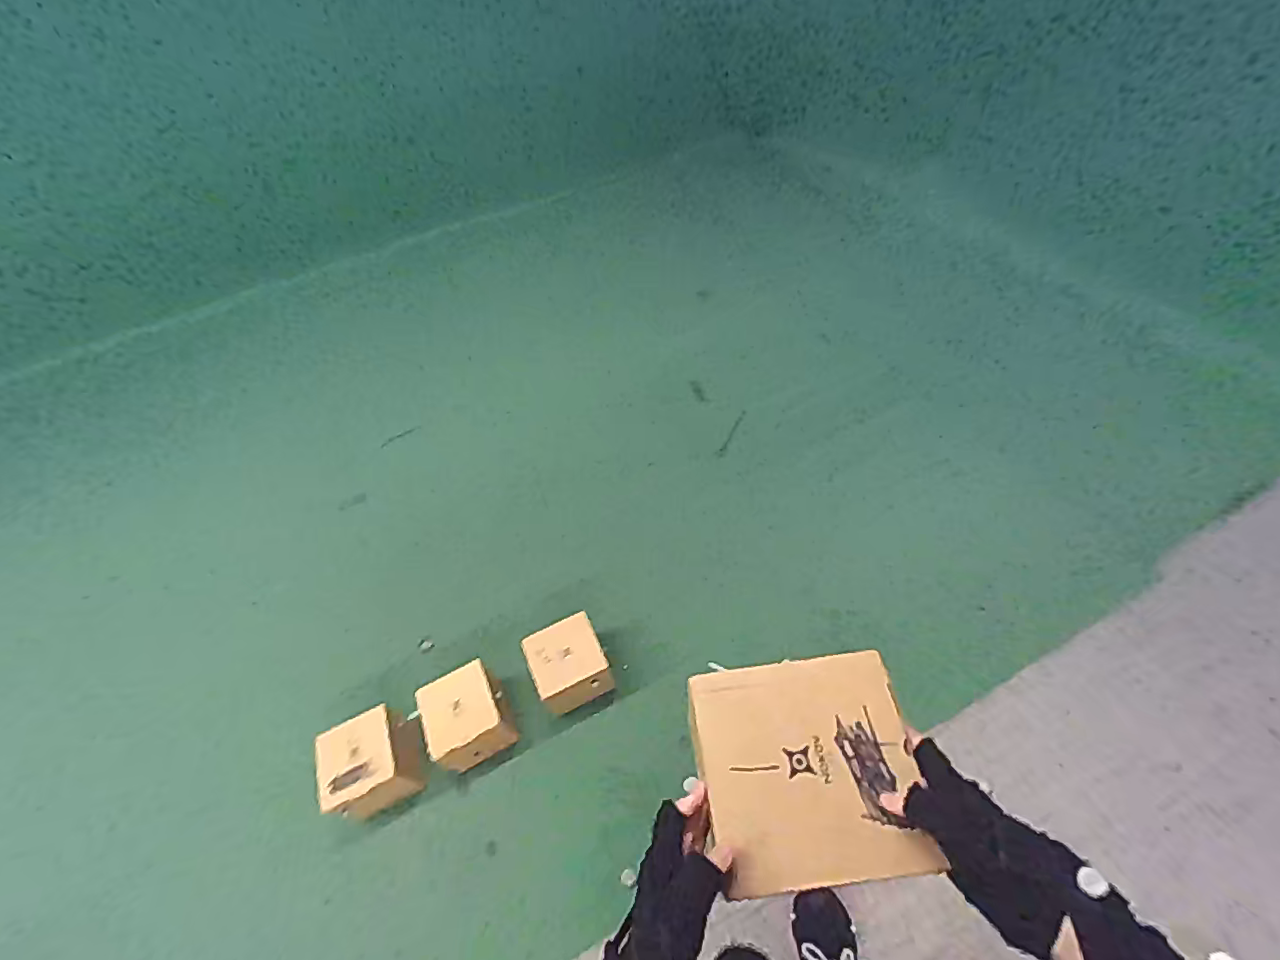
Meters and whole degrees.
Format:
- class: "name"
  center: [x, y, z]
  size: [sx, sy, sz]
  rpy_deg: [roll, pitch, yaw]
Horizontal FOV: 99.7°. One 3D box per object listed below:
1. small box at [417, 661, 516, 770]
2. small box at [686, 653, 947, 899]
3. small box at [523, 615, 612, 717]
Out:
- class: "small box"
  center: [-0.430, 0.590, 1.350]
  size: [0.168, 0.176, 0.179]
  rpy_deg: [-25, 55, -12]
- class: "small box"
  center: [0.142, 0.280, 0.513]
  size: [0.179, 0.176, 0.168]
  rpy_deg: [-8, 53, -1]
- class: "small box"
  center: [-0.181, 0.484, 1.400]
  size: [0.179, 0.176, 0.168]
  rpy_deg: [-22, 54, -11]
